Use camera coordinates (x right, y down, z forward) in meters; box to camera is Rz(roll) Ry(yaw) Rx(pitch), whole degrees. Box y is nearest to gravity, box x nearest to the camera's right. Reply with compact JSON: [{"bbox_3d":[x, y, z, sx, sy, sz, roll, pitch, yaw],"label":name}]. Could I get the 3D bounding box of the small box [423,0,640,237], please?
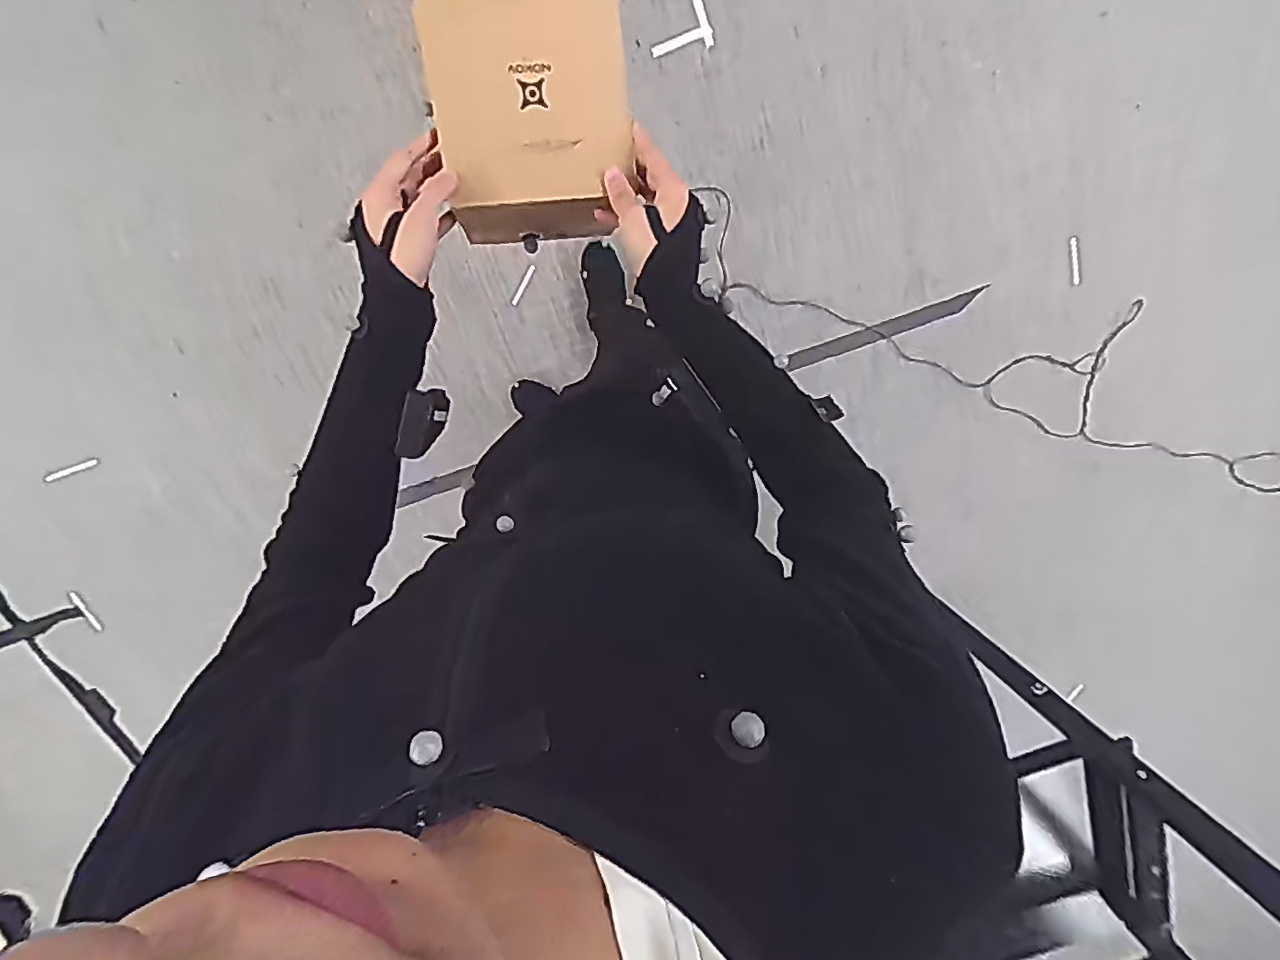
[{"bbox_3d":[-0.103,-0.351,0.523,0.168,0.176,0.179,-8,103,-9],"label":"small box"}]
